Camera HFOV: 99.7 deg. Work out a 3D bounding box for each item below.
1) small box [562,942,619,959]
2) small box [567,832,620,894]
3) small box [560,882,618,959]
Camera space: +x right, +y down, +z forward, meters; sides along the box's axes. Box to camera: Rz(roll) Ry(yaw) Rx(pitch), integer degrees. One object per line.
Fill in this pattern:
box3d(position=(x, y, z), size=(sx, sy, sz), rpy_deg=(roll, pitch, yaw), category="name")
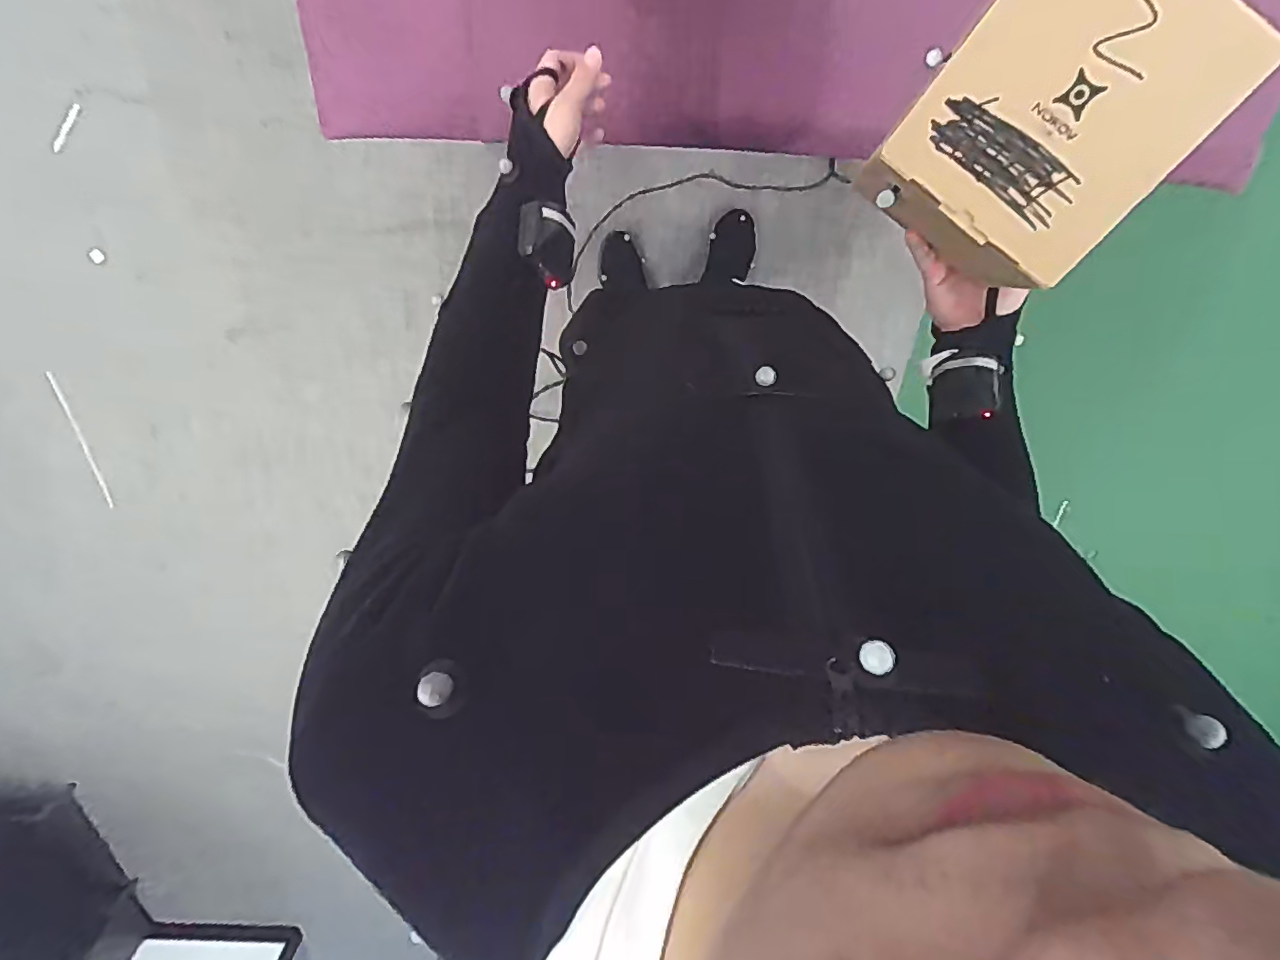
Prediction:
box3d(position=(-0.158, 1.506, 1.582), size=(0.168, 0.176, 0.179), rpy_deg=(14, 114, -6), category="small box")
box3d(position=(-0.160, 1.361, 1.875), size=(0.168, 0.176, 0.179), rpy_deg=(5, 115, -3), category="small box")
box3d(position=(-0.161, 1.430, 1.728), size=(0.168, 0.176, 0.179), rpy_deg=(5, 115, -2), category="small box")
